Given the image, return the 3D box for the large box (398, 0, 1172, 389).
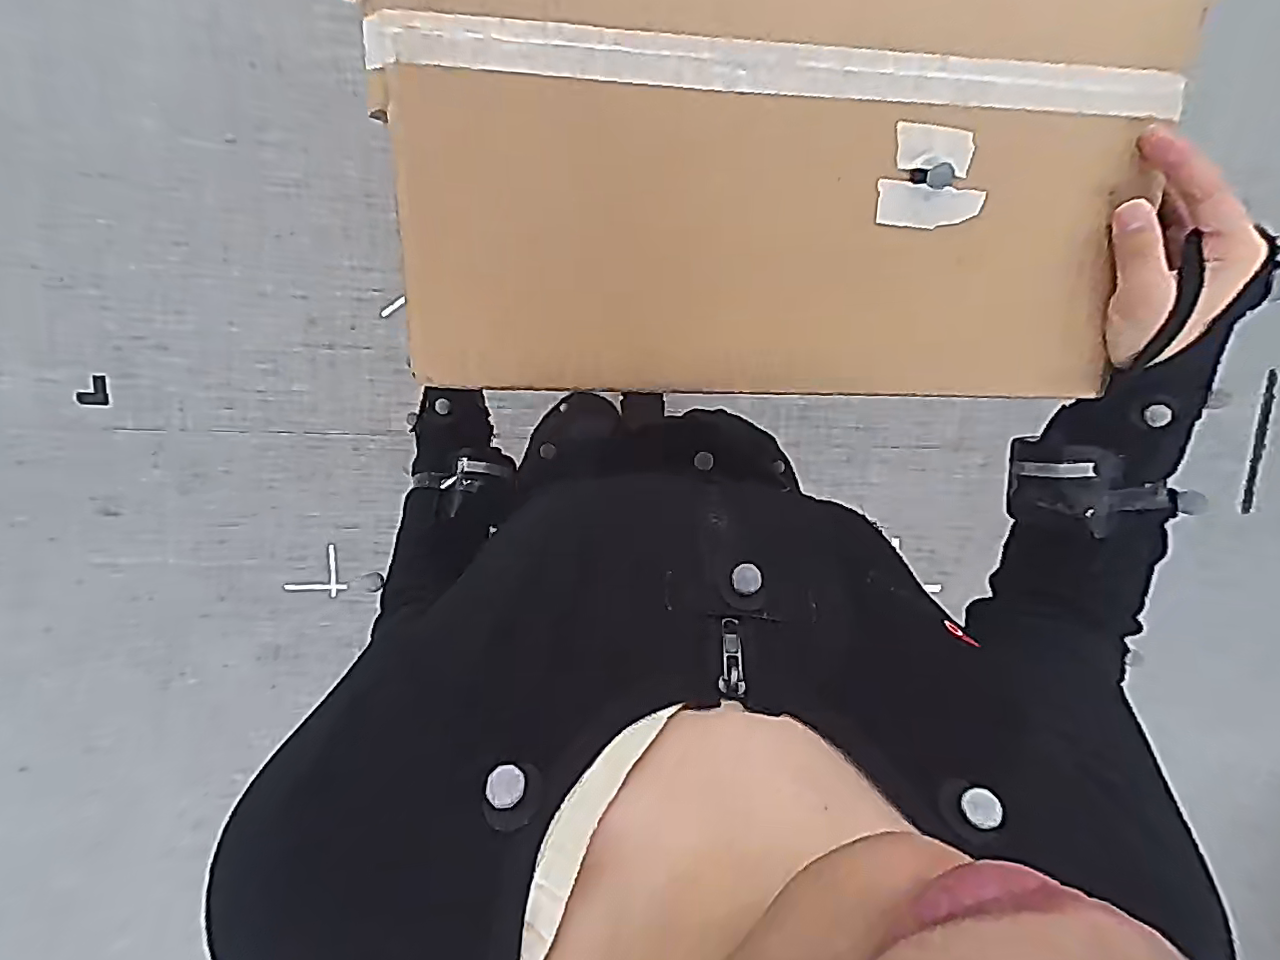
[{"bbox_3d":[0.064,-0.244,0.421,0.408,0.320,0.320,-1,106,-7],"label":"large box"}]
